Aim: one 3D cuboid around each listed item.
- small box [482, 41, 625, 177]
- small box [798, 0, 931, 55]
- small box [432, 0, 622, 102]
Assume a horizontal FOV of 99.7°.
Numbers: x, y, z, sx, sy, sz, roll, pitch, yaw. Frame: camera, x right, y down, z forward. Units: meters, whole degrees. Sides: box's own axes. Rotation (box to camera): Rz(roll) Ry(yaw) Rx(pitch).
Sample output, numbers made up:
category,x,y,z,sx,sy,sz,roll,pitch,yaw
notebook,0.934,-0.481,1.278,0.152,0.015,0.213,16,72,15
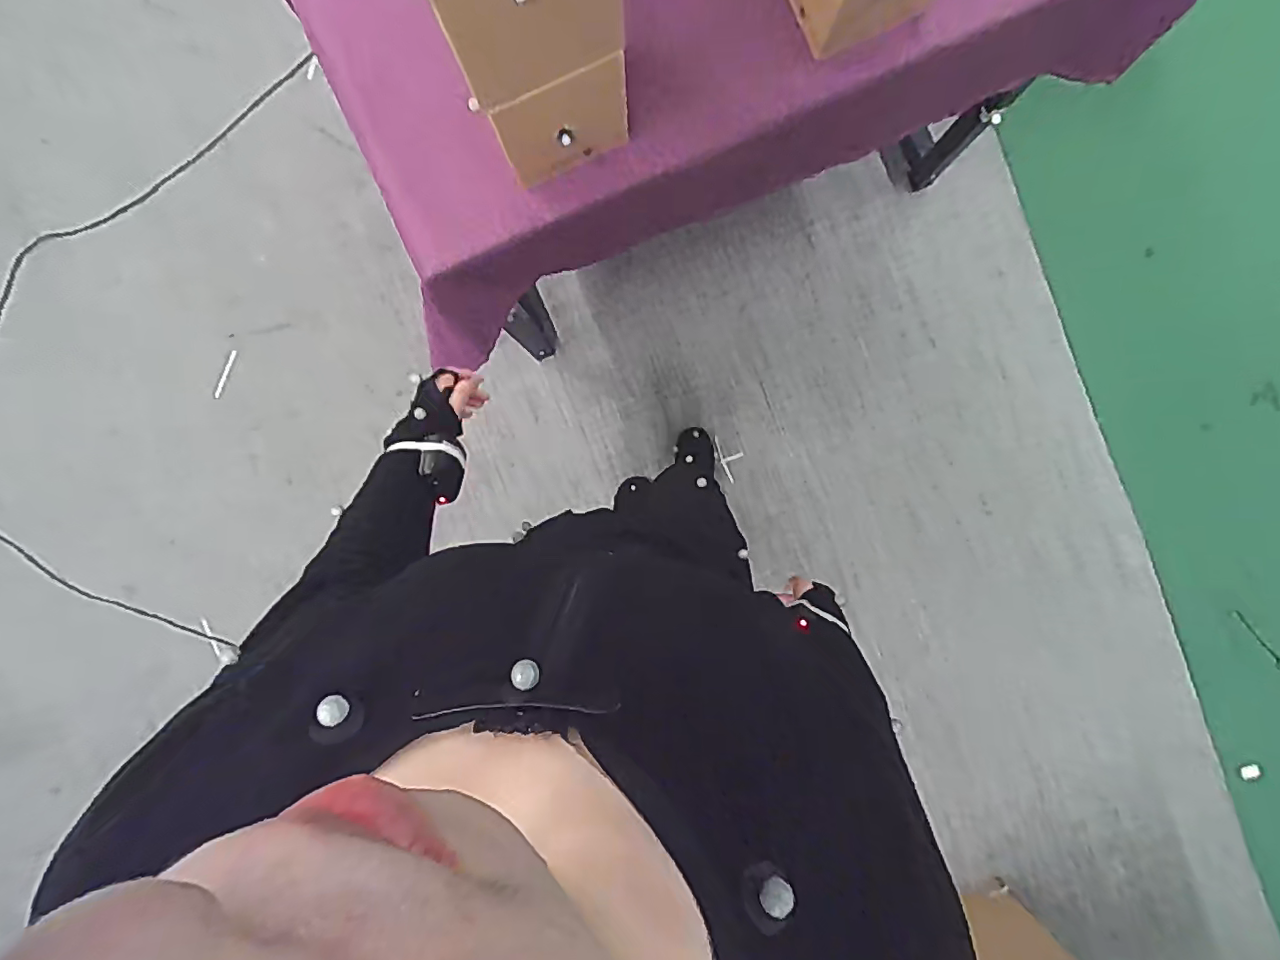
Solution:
category,x,y,z,sx,sy,sz,roll,pitch,yaw
small box,-0.123,-0.516,0.676,0.168,0.176,0.179,-23,91,1
small box,0.291,-0.685,0.666,0.179,0.176,0.168,-24,91,2
small box,-0.126,-0.511,0.511,0.179,0.176,0.168,-24,91,1
